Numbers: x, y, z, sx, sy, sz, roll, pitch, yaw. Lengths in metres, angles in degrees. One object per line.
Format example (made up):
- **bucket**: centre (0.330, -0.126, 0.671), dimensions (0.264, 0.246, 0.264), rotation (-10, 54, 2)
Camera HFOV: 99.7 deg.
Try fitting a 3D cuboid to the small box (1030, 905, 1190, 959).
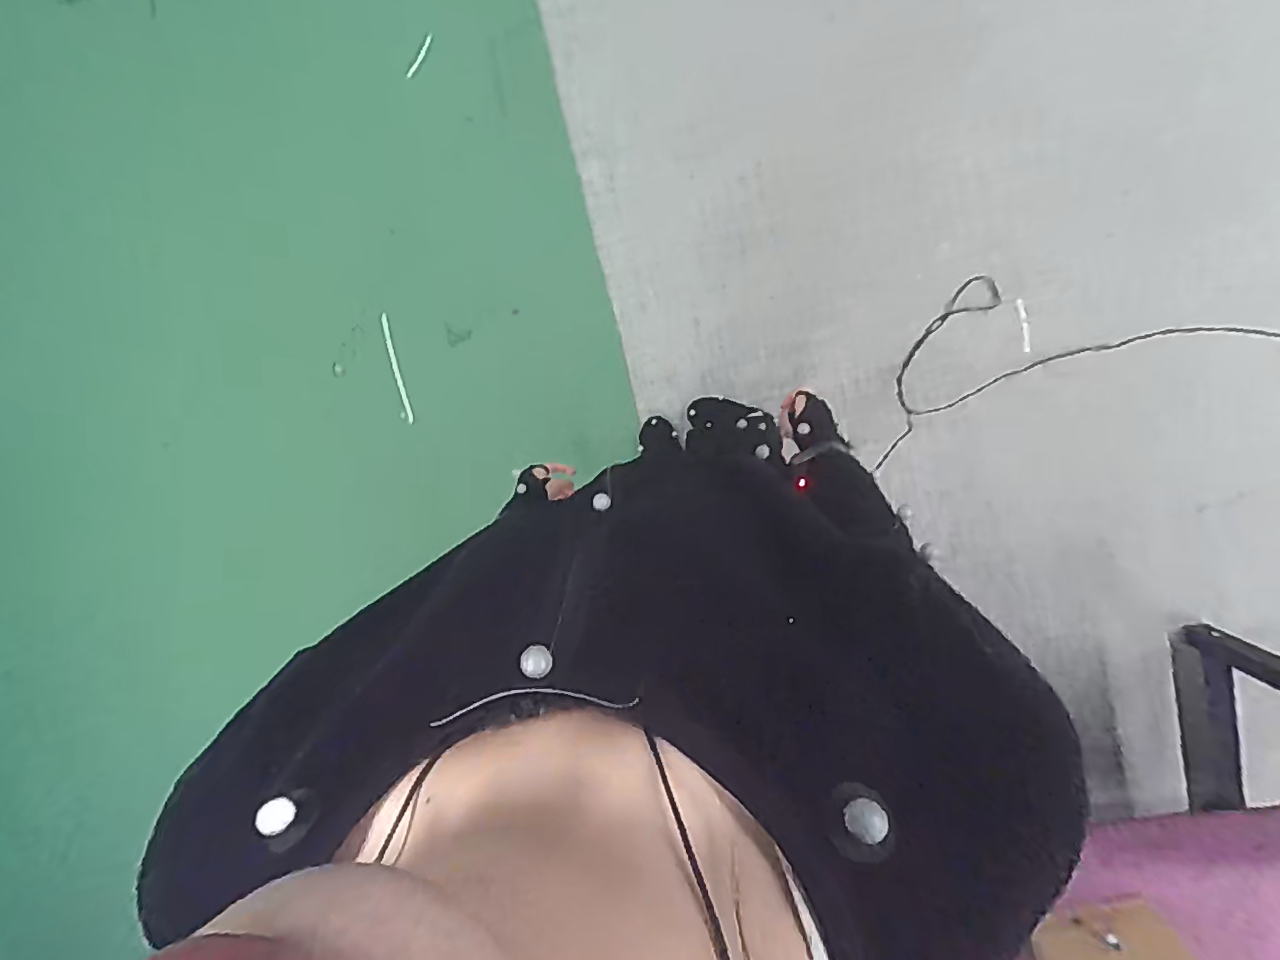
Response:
- **small box**: centre (0.657, 0.713, 0.705), dimensions (0.168, 0.176, 0.179), rotation (-18, 96, 8)
